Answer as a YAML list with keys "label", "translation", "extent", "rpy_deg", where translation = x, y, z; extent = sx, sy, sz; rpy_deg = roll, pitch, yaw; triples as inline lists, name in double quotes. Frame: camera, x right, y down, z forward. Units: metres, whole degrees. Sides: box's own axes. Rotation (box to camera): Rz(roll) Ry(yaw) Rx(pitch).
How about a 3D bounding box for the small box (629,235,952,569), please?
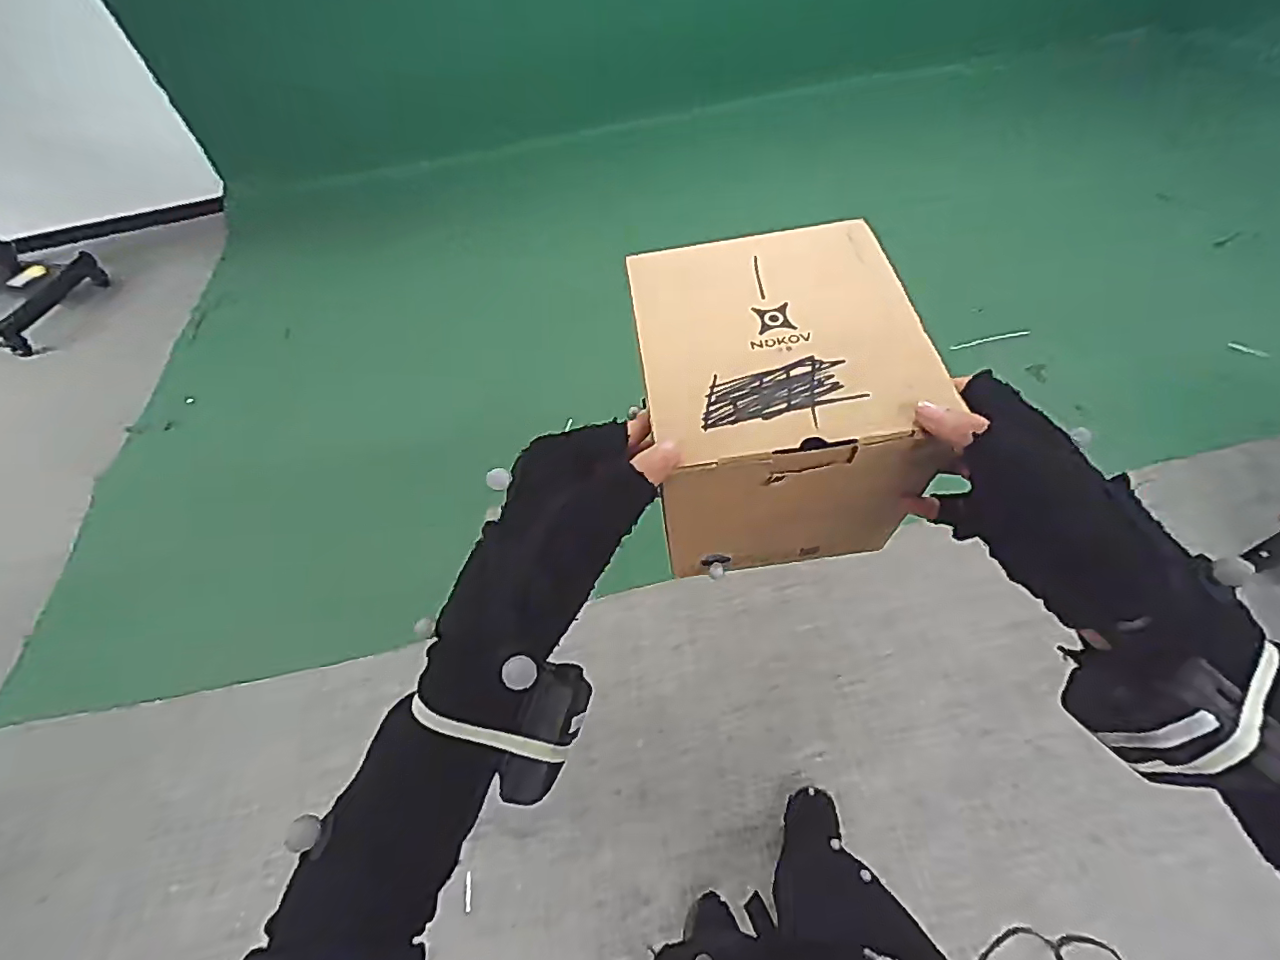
- label: "small box"
  translation: [0.089, -0.044, 0.401]
  extent: [0.168, 0.176, 0.179]
  rpy_deg: [-8, 59, 2]
